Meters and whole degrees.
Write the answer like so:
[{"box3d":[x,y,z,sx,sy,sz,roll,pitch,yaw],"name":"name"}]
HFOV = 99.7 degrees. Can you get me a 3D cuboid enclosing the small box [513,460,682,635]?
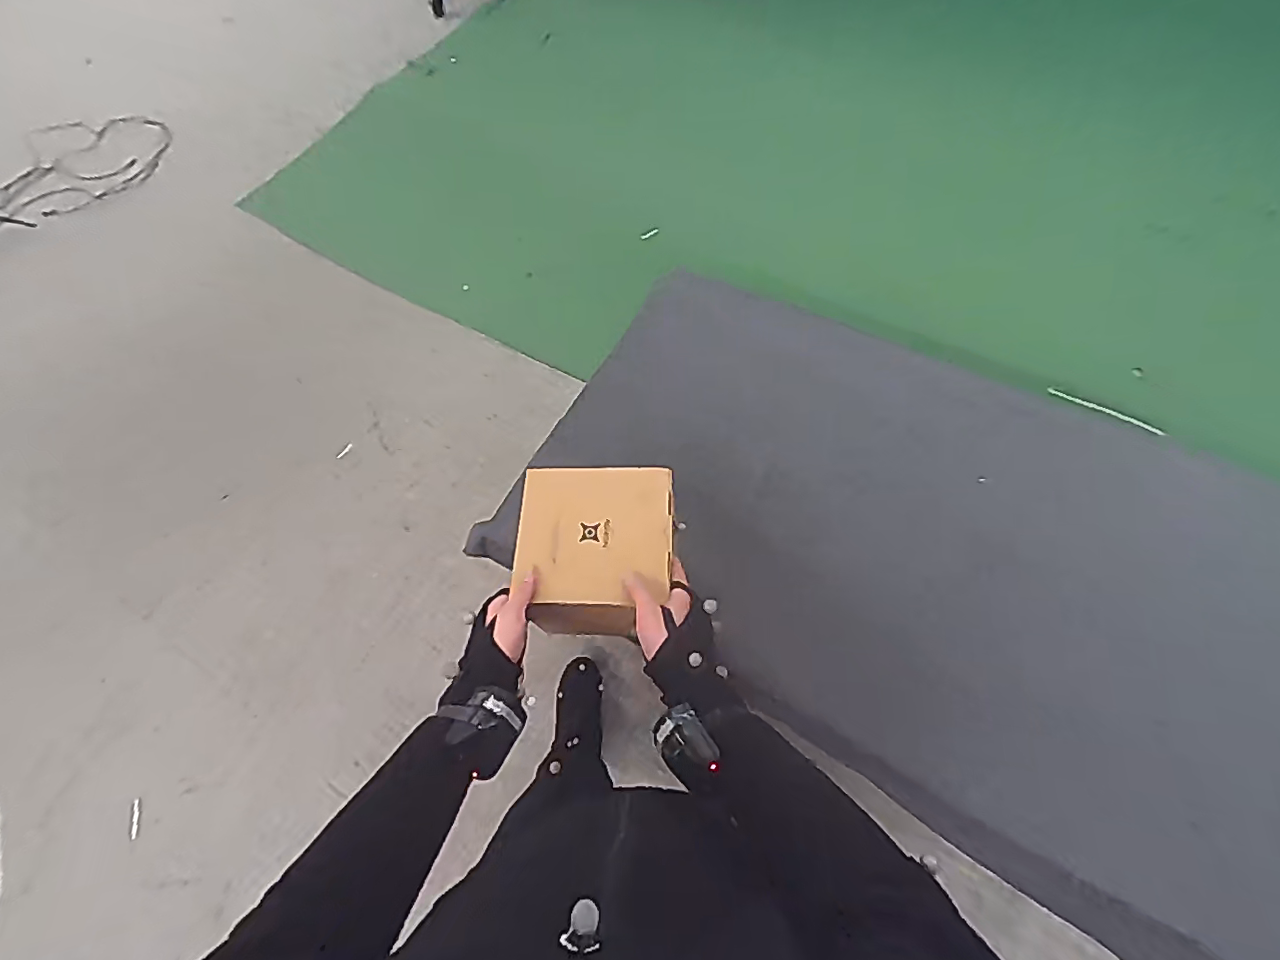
[{"box3d":[-0.039,0.088,0.661,0.179,0.176,0.168,0,61,4],"name":"small box"}]
